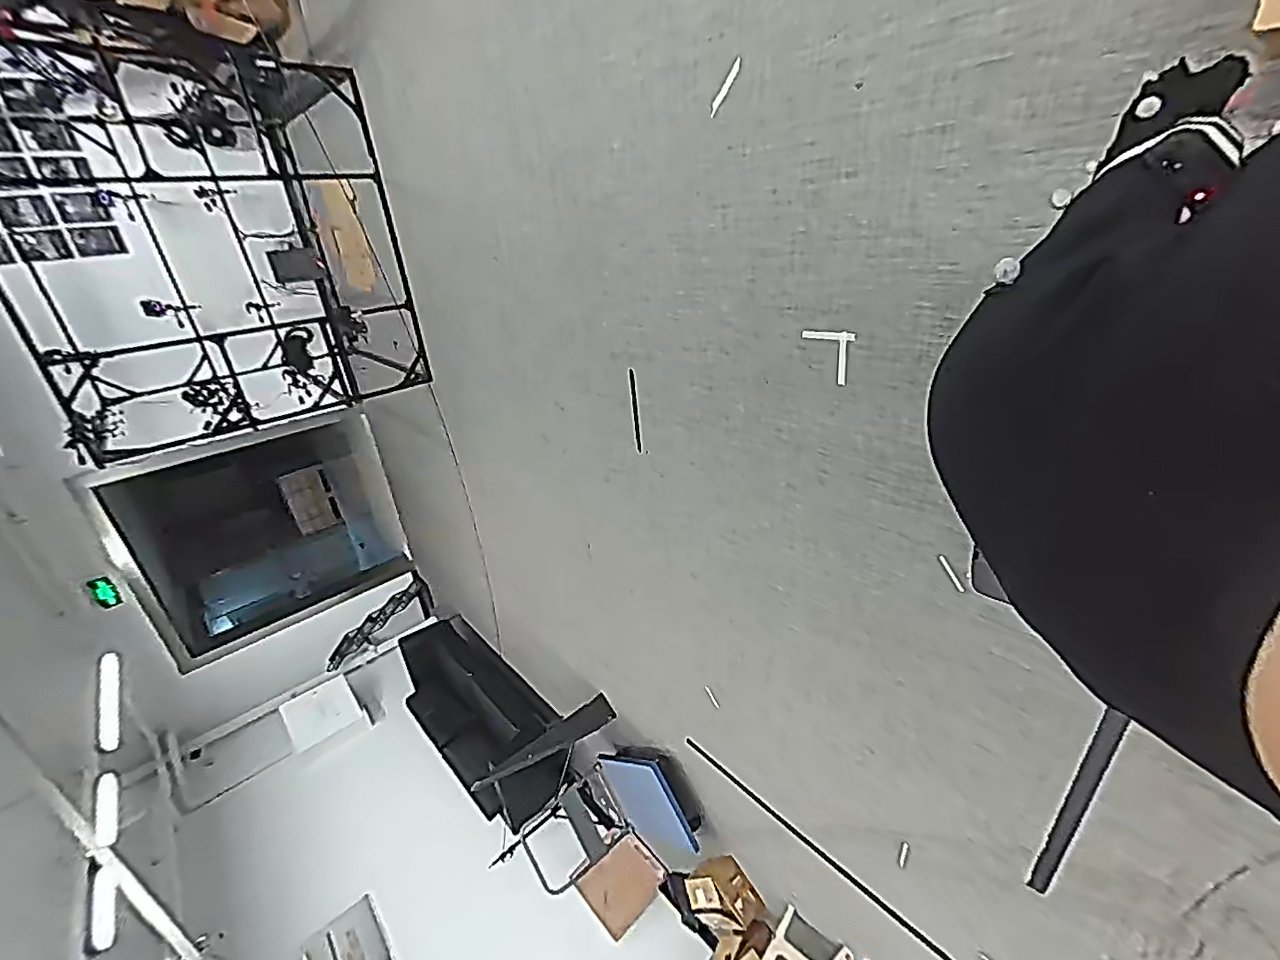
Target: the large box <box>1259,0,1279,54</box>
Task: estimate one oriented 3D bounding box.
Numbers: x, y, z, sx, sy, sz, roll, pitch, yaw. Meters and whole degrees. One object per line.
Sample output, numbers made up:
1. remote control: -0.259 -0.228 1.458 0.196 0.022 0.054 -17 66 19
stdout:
1. large box: 1.030 -0.723 0.591 0.408 0.320 0.320 22 127 43
